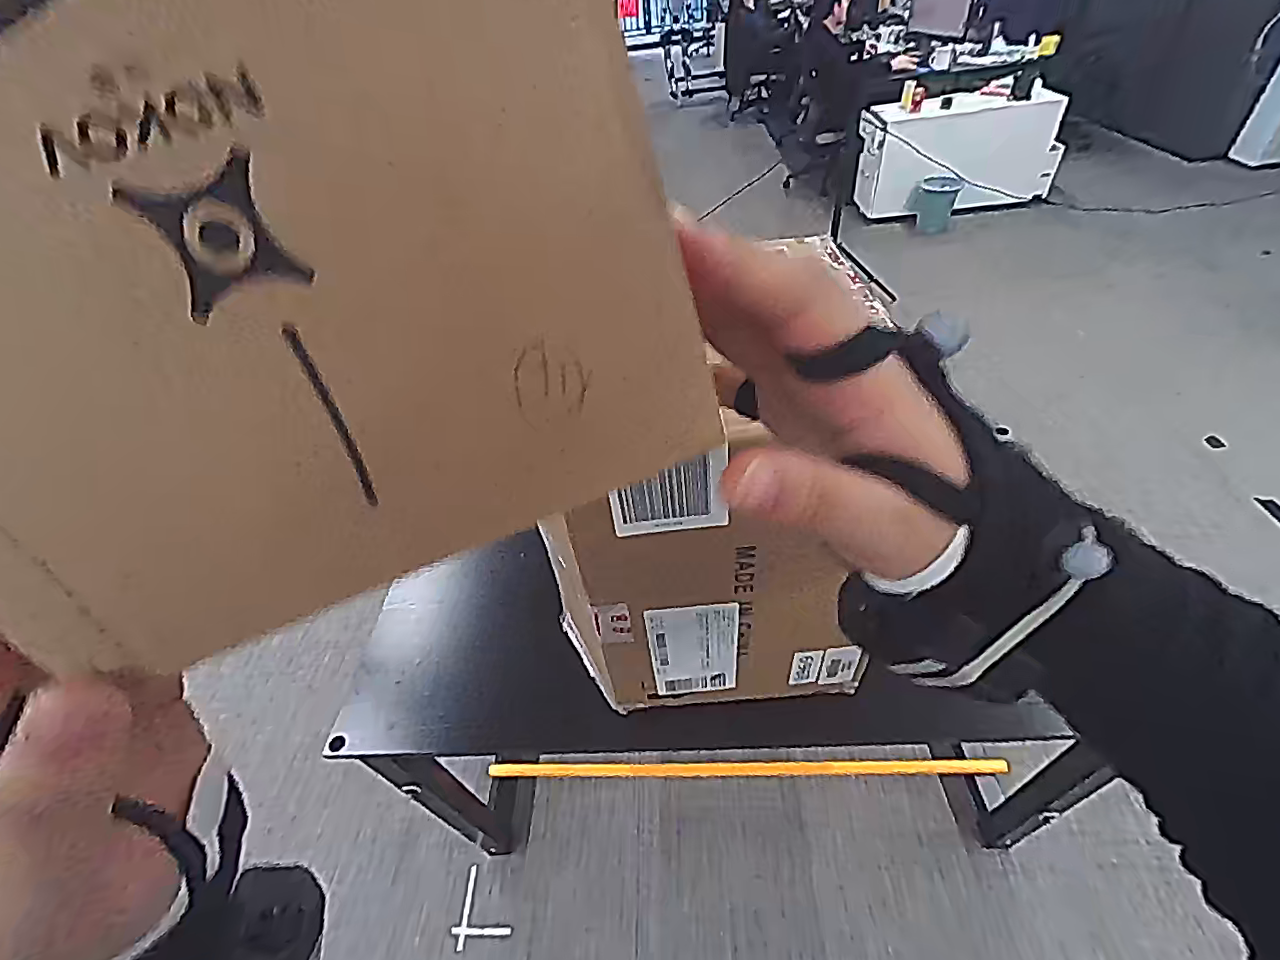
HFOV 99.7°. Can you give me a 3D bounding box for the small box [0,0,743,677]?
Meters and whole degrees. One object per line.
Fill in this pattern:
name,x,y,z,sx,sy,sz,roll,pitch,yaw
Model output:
small box,-0.092,-0.083,0.176,0.168,0.179,0.176,-22,23,-6
